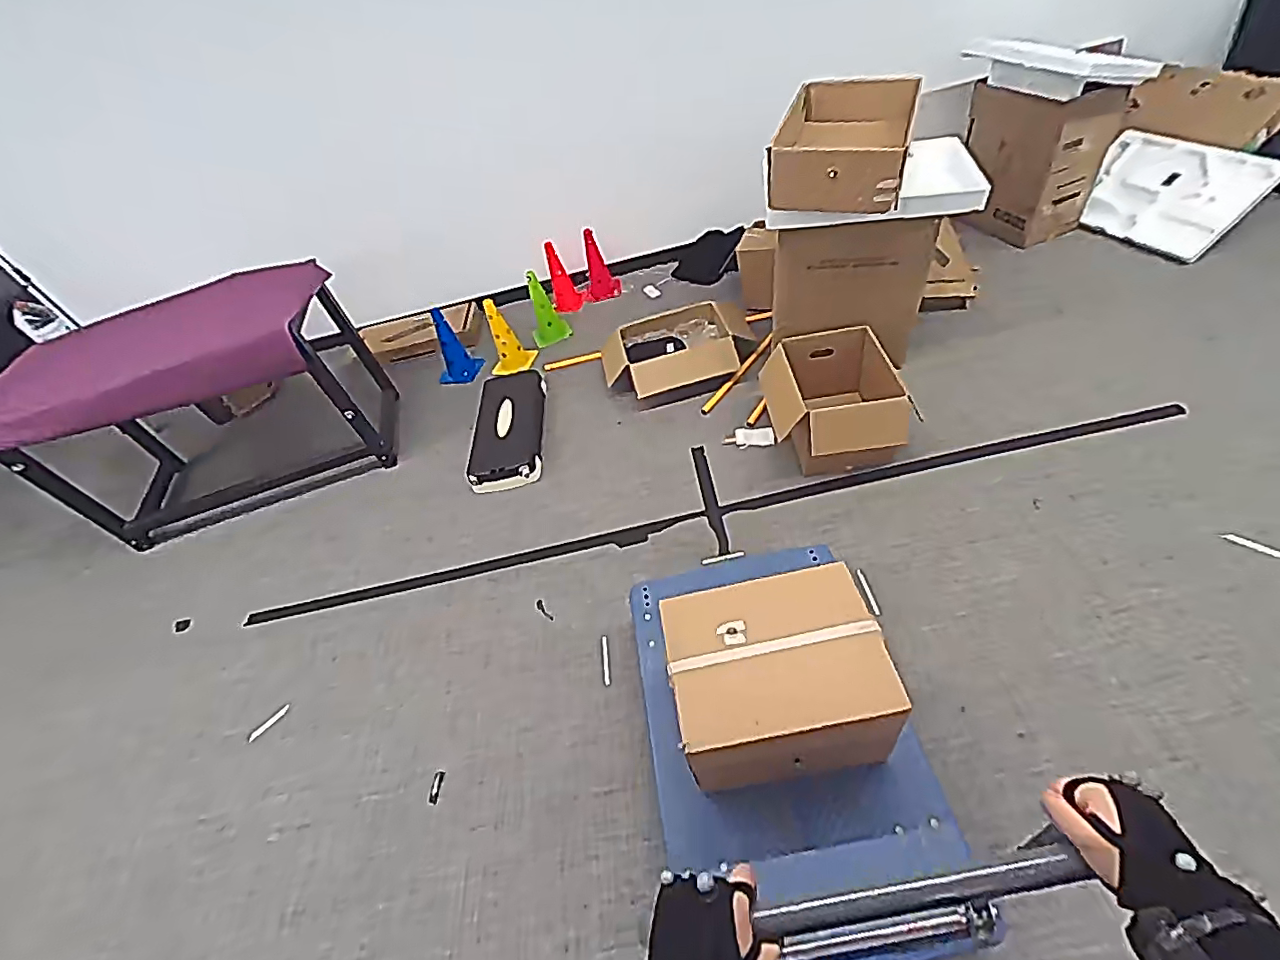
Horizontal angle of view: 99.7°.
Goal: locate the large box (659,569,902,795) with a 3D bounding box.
[{"bbox_3d":[0.284,0.442,1.171,0.408,0.320,0.320,-14,45,3],"label":"large box"}]
